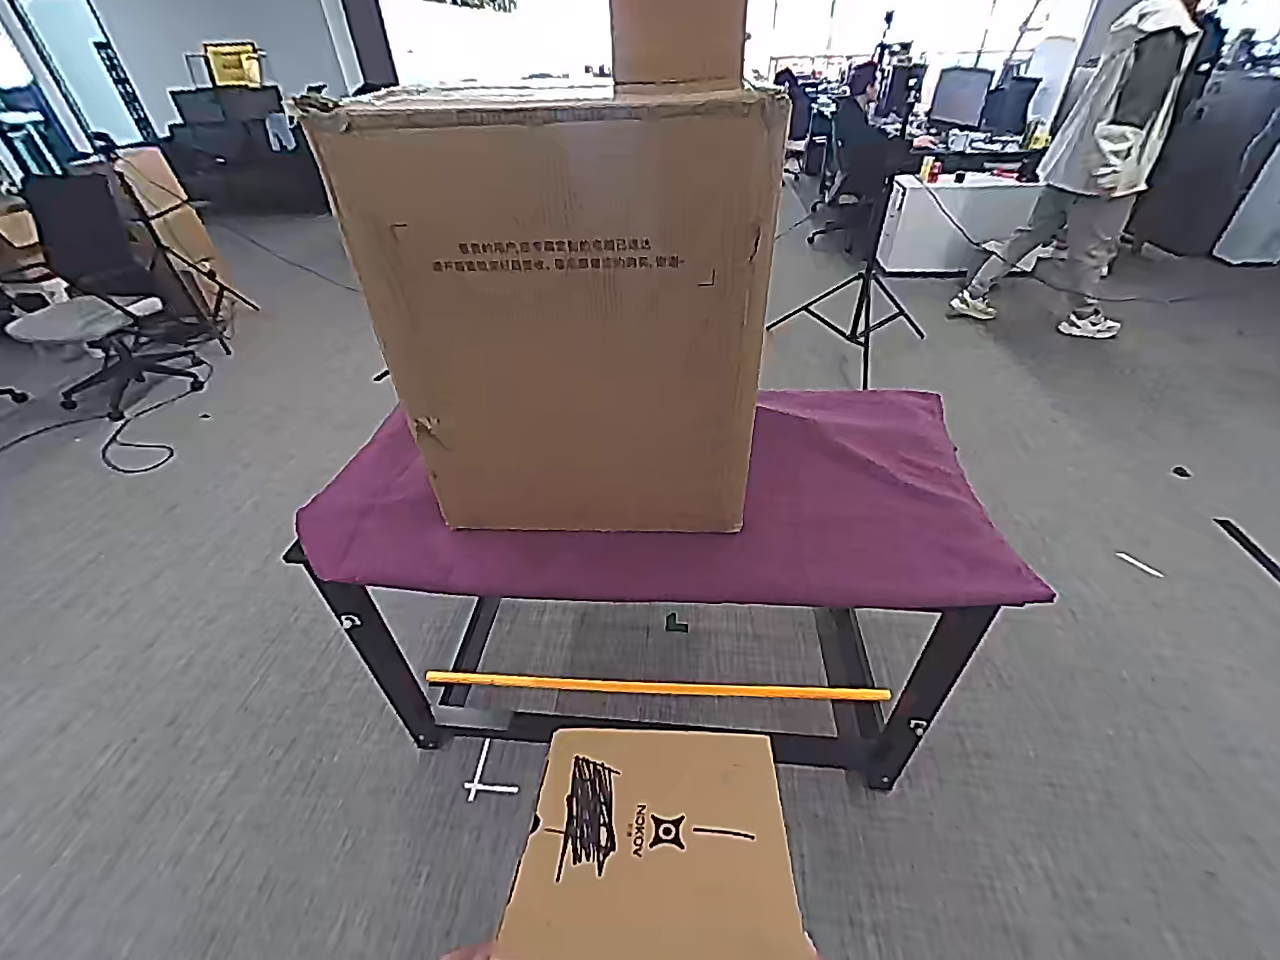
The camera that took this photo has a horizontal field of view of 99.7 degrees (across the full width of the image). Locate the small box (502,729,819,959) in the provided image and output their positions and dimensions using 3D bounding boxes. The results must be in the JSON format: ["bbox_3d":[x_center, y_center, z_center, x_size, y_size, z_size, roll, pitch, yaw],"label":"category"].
[{"bbox_3d":[0.020,0.309,0.389,0.179,0.176,0.168,0,22,5],"label":"small box"}]
